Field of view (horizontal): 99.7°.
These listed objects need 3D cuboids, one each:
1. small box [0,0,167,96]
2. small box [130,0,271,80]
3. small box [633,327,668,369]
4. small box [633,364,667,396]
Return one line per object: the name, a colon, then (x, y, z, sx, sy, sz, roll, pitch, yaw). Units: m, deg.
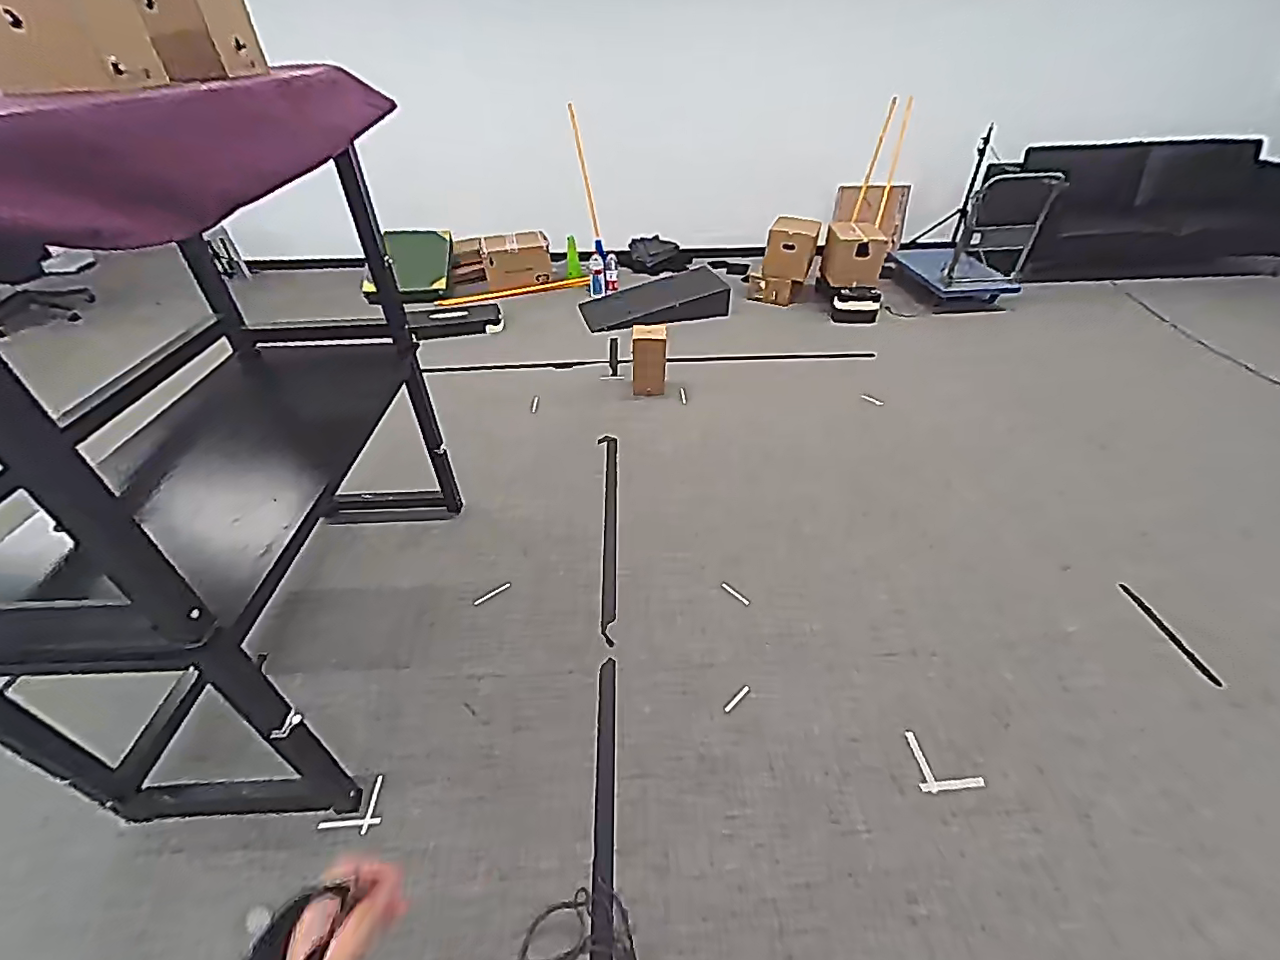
small box: (-0.951, -0.748, 0.894, 0.179, 0.176, 0.168, -6, 39, -4)
small box: (-0.944, -0.960, 1.149, 0.179, 0.176, 0.168, 0, 40, 2)
small box: (0.056, -0.698, 2.862, 0.179, 0.176, 0.168, 1, 39, 2)
small box: (0.051, -0.573, 2.967, 0.179, 0.176, 0.168, 0, 39, -1)
